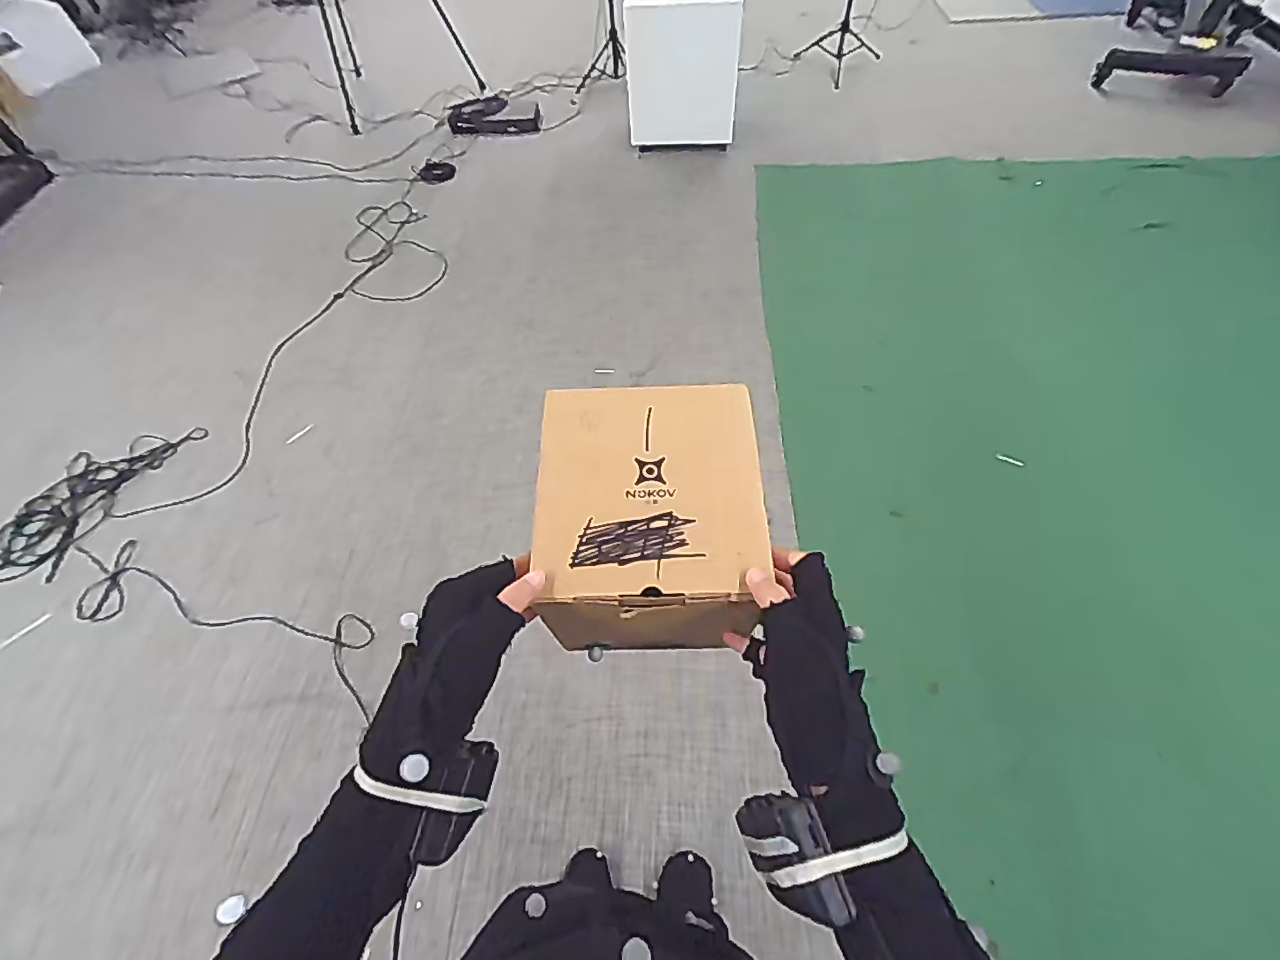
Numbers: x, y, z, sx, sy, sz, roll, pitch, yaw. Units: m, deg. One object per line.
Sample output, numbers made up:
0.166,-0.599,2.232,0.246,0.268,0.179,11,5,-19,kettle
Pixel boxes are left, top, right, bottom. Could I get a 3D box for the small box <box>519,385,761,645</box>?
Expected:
0.004,0.039,0.466,0.168,0.176,0.179,0,60,1,small box
